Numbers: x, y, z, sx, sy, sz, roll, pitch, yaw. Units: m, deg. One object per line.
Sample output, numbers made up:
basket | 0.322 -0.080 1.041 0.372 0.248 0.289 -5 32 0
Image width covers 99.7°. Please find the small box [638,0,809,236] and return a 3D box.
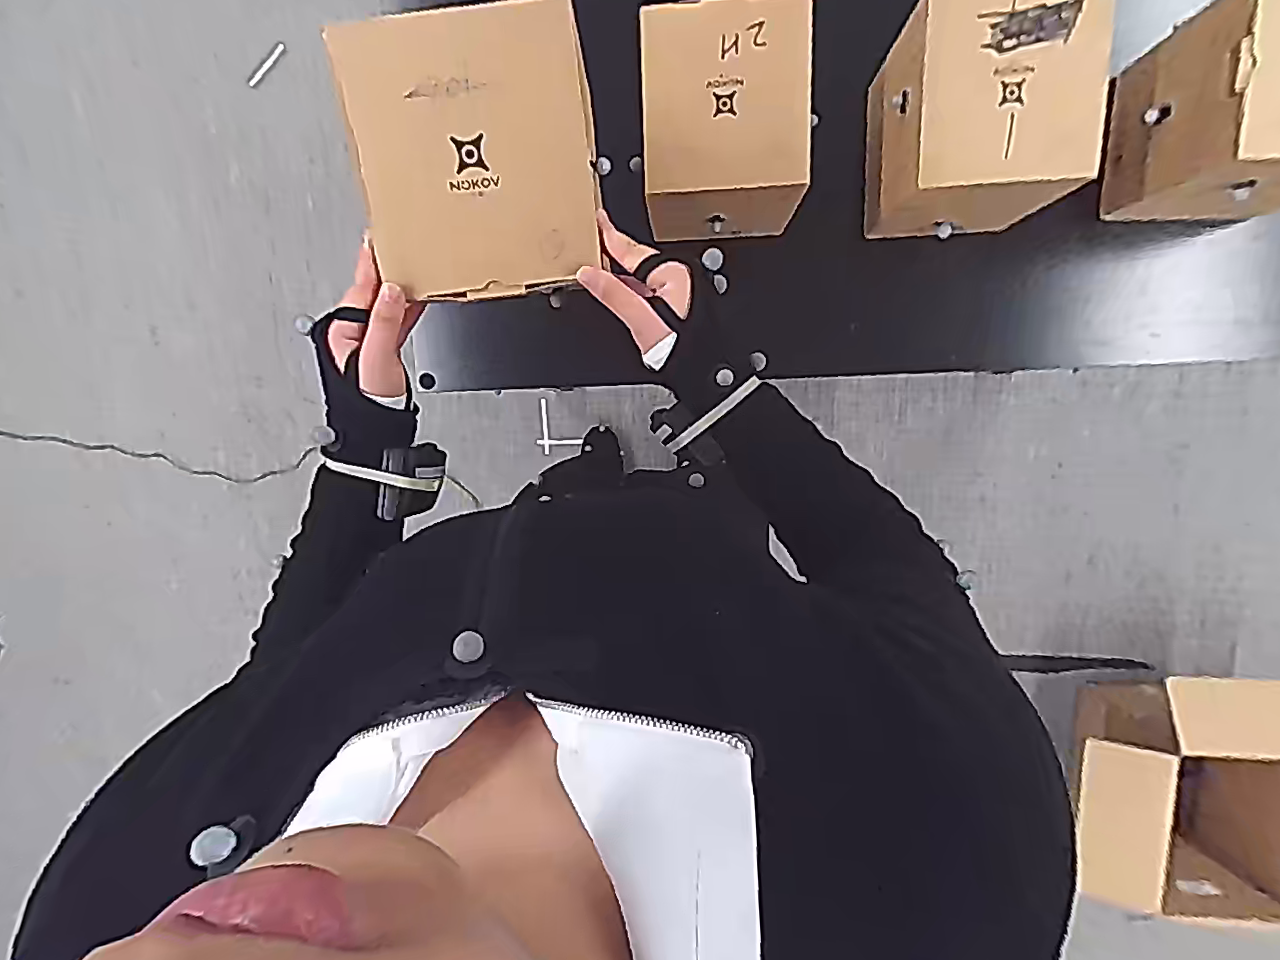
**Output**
small box | 0.088 -0.387 0.610 0.168 0.176 0.179 -1 98 5

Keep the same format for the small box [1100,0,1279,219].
small box | 0.633 -0.384 0.561 0.179 0.176 0.168 2 98 6

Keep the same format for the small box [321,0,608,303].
small box | -0.120 -0.248 0.451 0.168 0.176 0.179 -7 108 1

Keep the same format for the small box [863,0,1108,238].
small box | 0.352 -0.382 0.587 0.168 0.176 0.179 -1 98 5
